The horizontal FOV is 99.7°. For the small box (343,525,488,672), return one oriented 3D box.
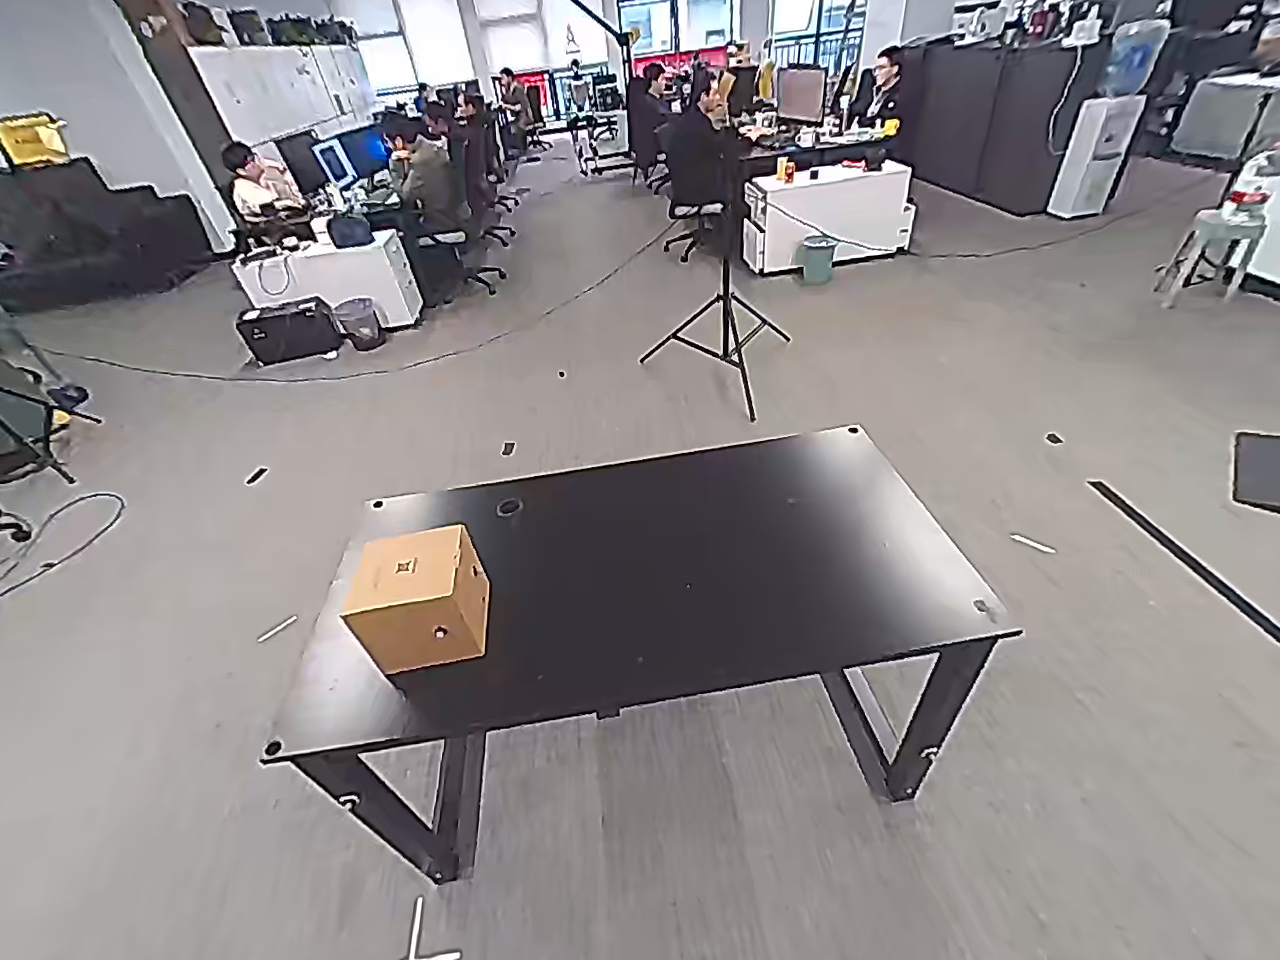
[{"bbox_3d":[-0.373,0.206,0.940,0.179,0.176,0.168,-11,38,-3],"label":"small box"}]
